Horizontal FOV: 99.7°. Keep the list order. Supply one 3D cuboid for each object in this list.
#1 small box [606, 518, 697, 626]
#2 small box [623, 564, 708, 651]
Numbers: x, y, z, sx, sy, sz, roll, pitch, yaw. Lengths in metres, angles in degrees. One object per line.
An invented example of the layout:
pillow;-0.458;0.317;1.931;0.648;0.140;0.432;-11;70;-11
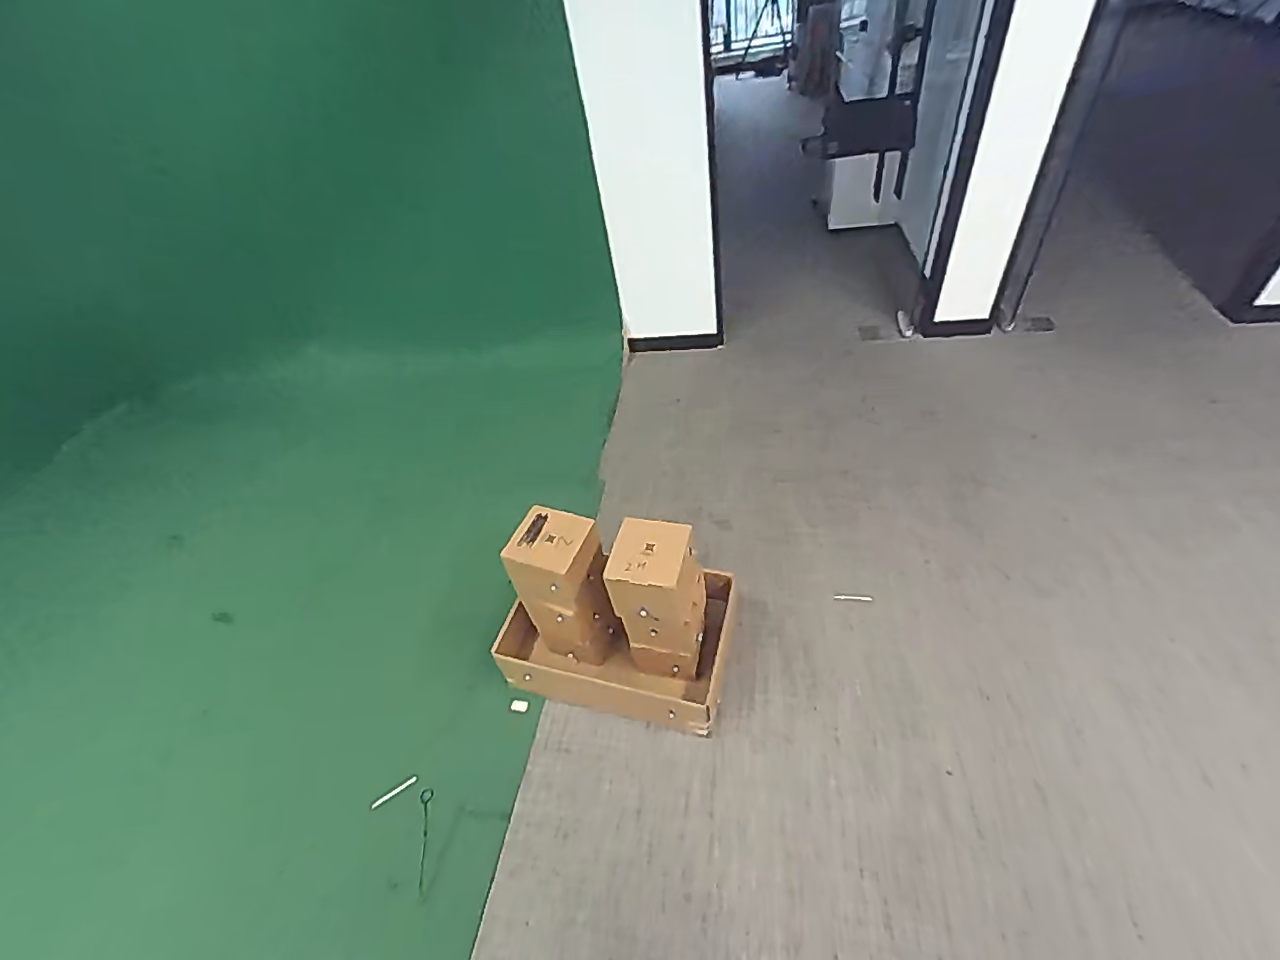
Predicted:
small box;0.036;0.214;1.264;0.168;0.176;0.179;5;48;18
small box;0.072;0.320;1.386;0.179;0.176;0.168;4;48;18
